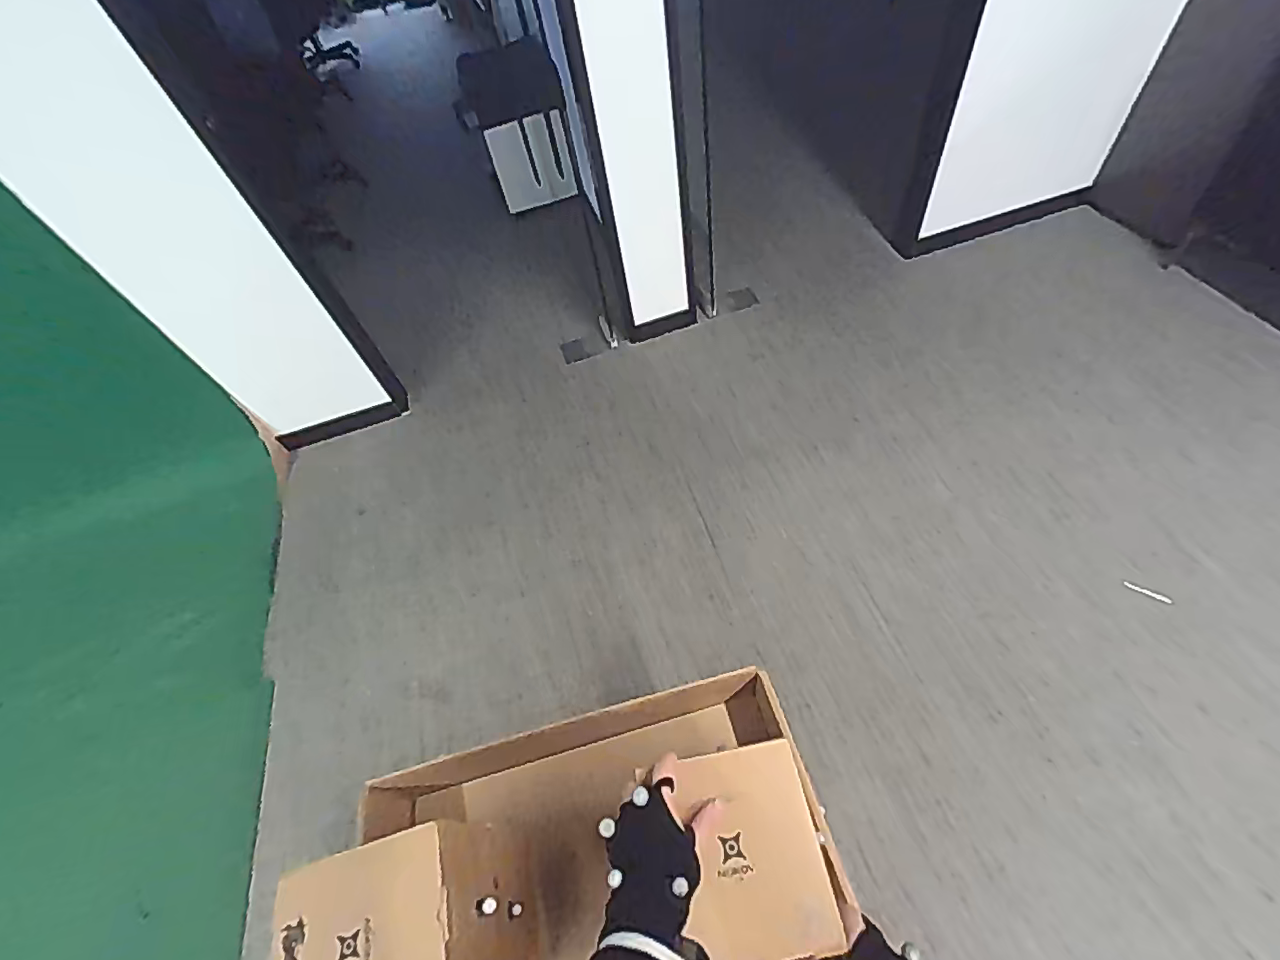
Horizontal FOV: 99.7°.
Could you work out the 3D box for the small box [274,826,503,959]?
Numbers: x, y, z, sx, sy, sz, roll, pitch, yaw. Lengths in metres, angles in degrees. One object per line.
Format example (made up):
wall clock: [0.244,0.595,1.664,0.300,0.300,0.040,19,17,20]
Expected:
small box: [-0.257,0.496,0.583,0.179,0.176,0.168,-17,53,-3]

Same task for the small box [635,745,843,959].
small box: [0.095,0.401,0.580,0.168,0.176,0.179,-11,56,0]
